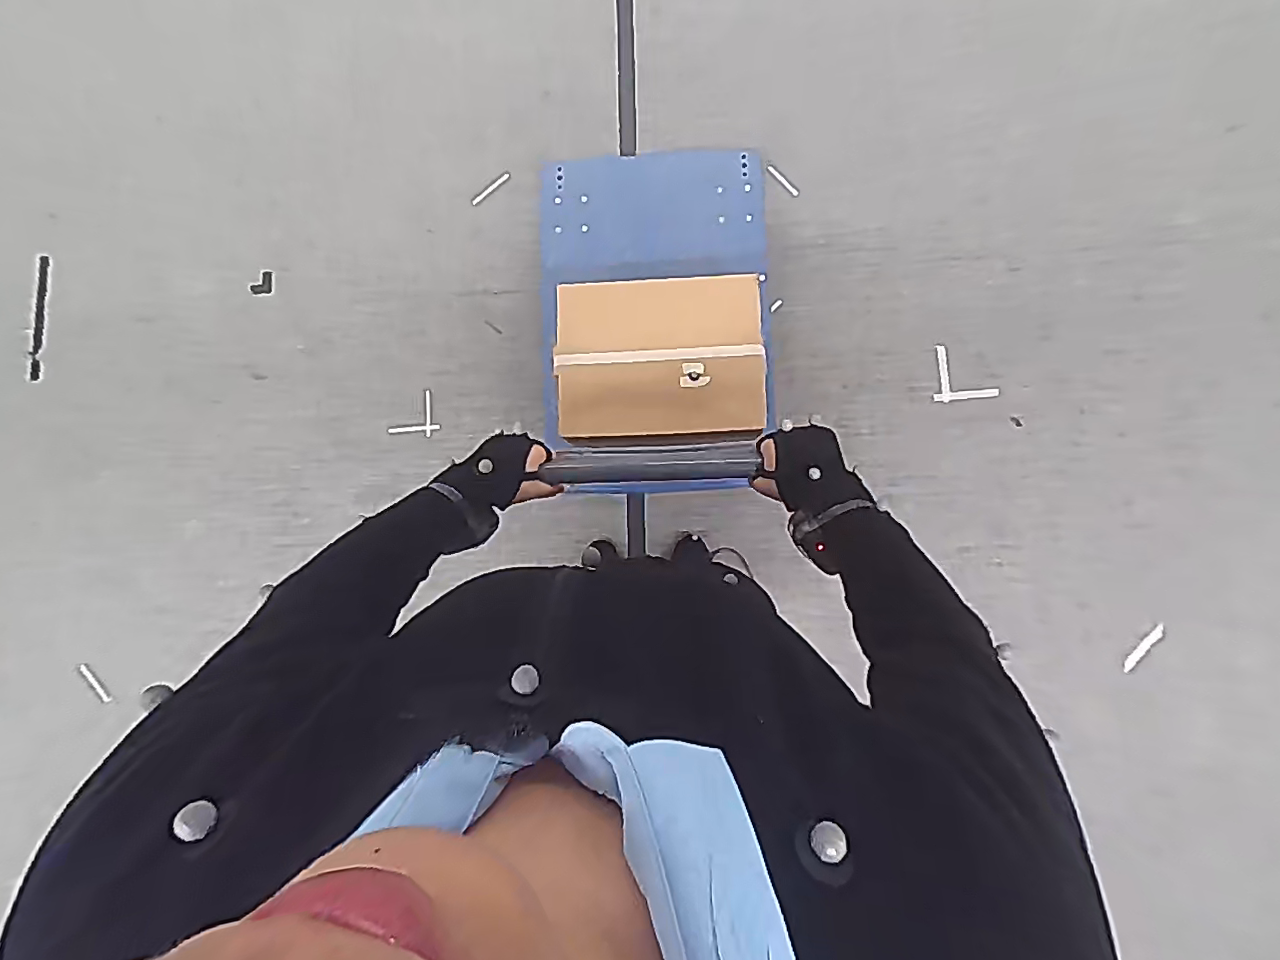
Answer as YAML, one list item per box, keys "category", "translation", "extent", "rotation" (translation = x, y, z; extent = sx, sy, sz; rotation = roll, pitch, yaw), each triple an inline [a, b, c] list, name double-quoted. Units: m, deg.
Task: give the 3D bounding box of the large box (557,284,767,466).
- category: "large box"
  translation: [0.045, -0.208, 1.198]
  extent: [0.408, 0.320, 0.320]
  rotation: [-2, 86, 2]
